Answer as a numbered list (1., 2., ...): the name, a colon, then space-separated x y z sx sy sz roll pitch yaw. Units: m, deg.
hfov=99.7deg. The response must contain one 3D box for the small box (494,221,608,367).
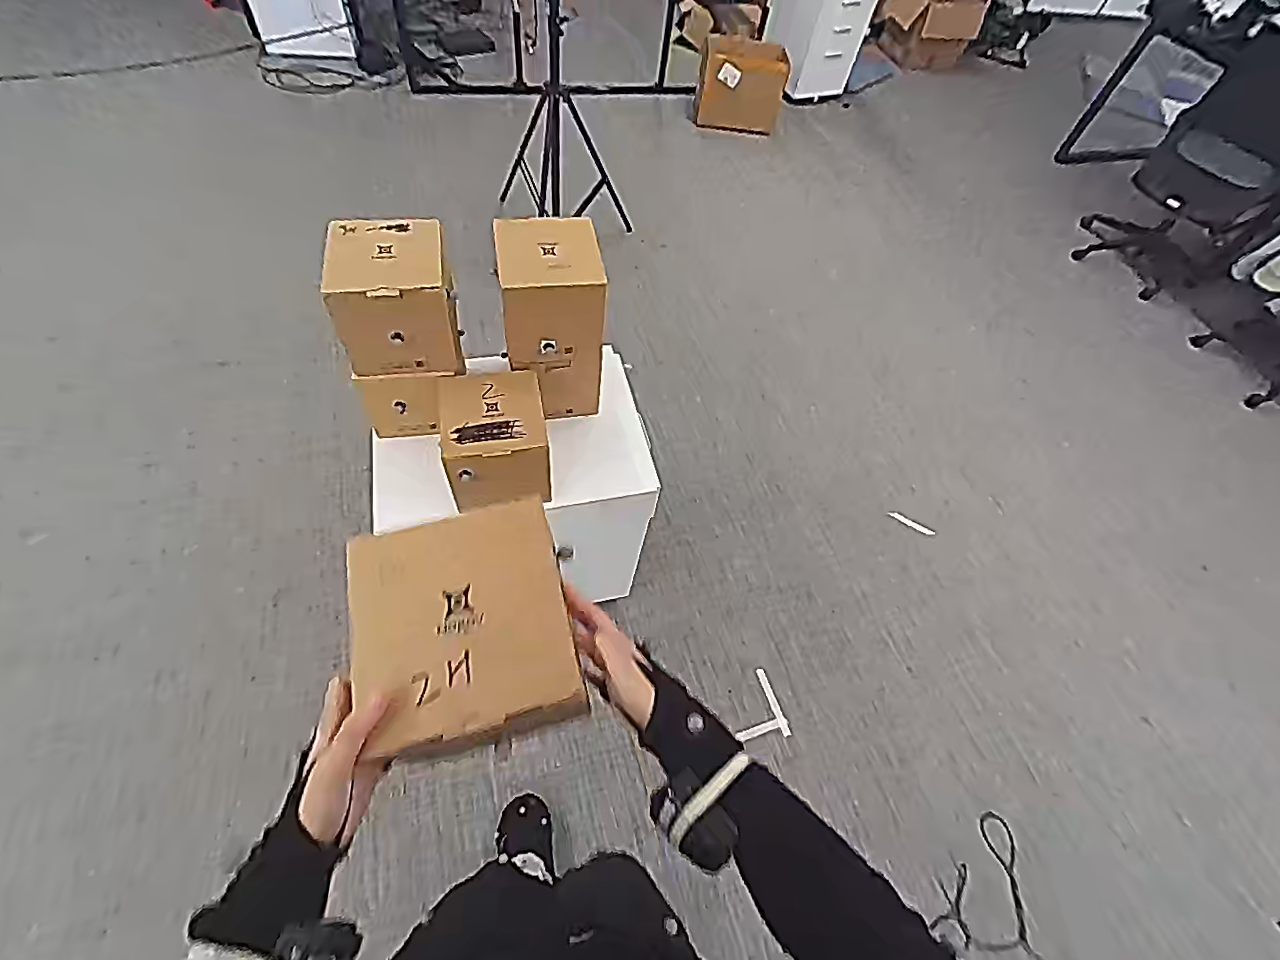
1. small box: -0.155 -0.318 0.933 0.168 0.176 0.179 -8 60 -12

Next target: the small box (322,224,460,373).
1. small box: -0.392 -0.288 0.879 0.168 0.176 0.179 -7 59 -13

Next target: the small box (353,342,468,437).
1. small box: -0.418 -0.192 1.011 0.168 0.176 0.179 -6 58 -12
